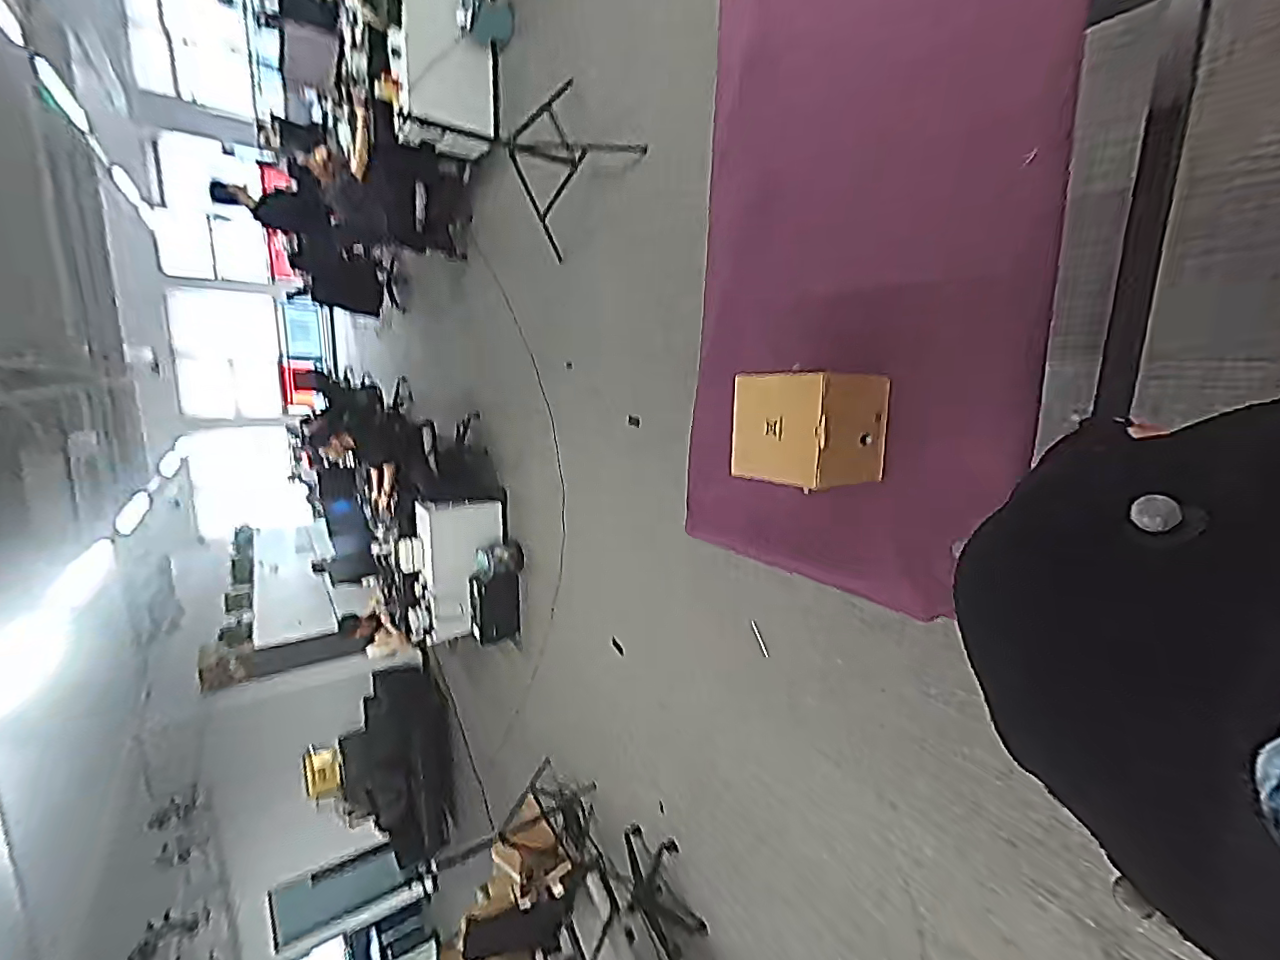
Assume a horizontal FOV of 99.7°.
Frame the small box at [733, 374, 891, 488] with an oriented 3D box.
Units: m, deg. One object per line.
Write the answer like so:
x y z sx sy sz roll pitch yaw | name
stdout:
0.274 -0.084 0.879 0.179 0.176 0.168 12 104 54 | small box
